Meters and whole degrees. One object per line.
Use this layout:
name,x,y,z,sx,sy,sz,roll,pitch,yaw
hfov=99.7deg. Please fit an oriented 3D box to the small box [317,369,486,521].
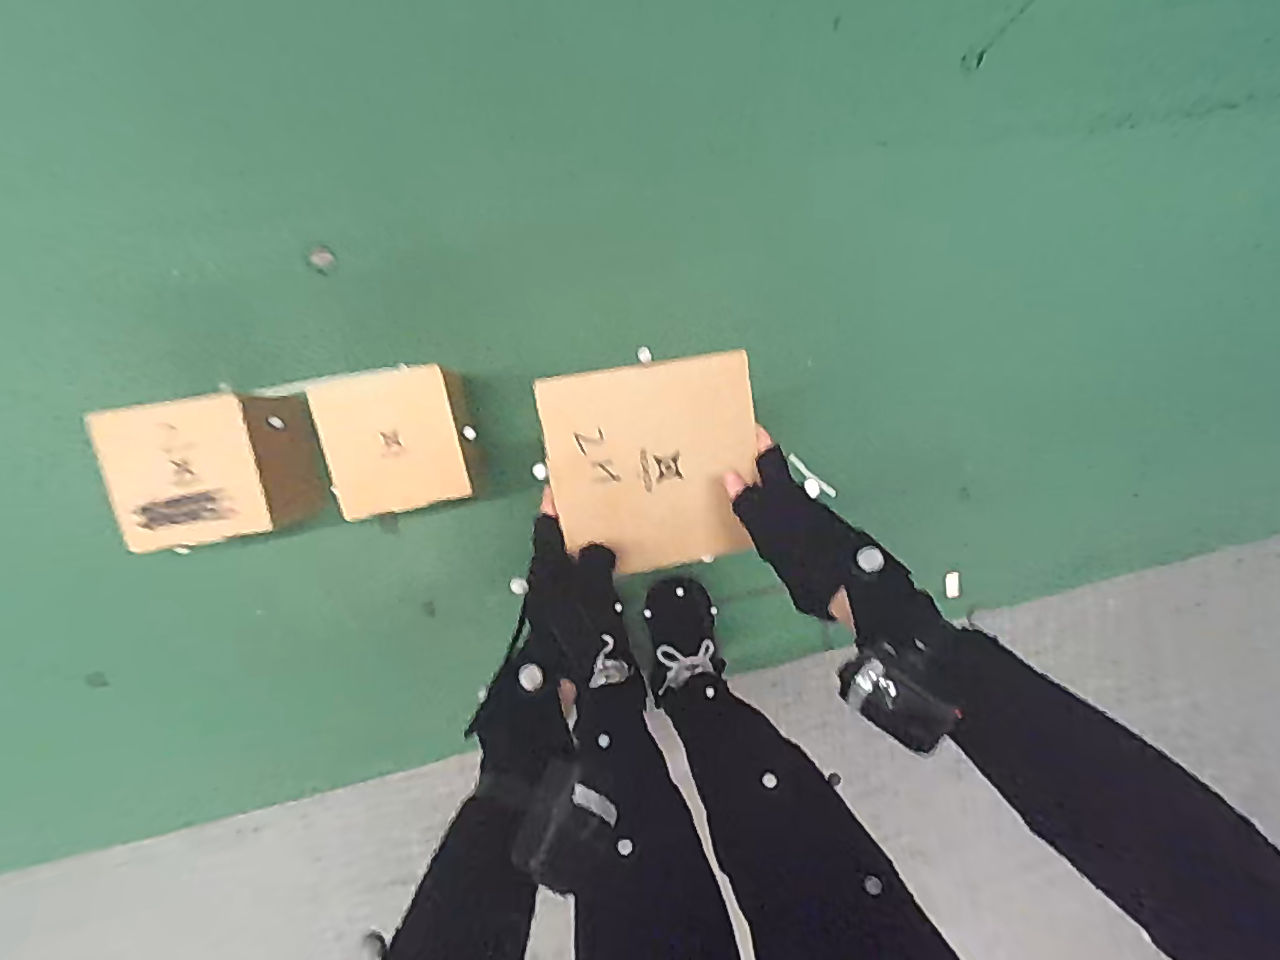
small box,-0.329,-0.055,0.782,0.168,0.176,0.179,-12,100,-8

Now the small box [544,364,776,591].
small box,0.007,-0.014,0.507,0.179,0.176,0.168,-9,98,-8
